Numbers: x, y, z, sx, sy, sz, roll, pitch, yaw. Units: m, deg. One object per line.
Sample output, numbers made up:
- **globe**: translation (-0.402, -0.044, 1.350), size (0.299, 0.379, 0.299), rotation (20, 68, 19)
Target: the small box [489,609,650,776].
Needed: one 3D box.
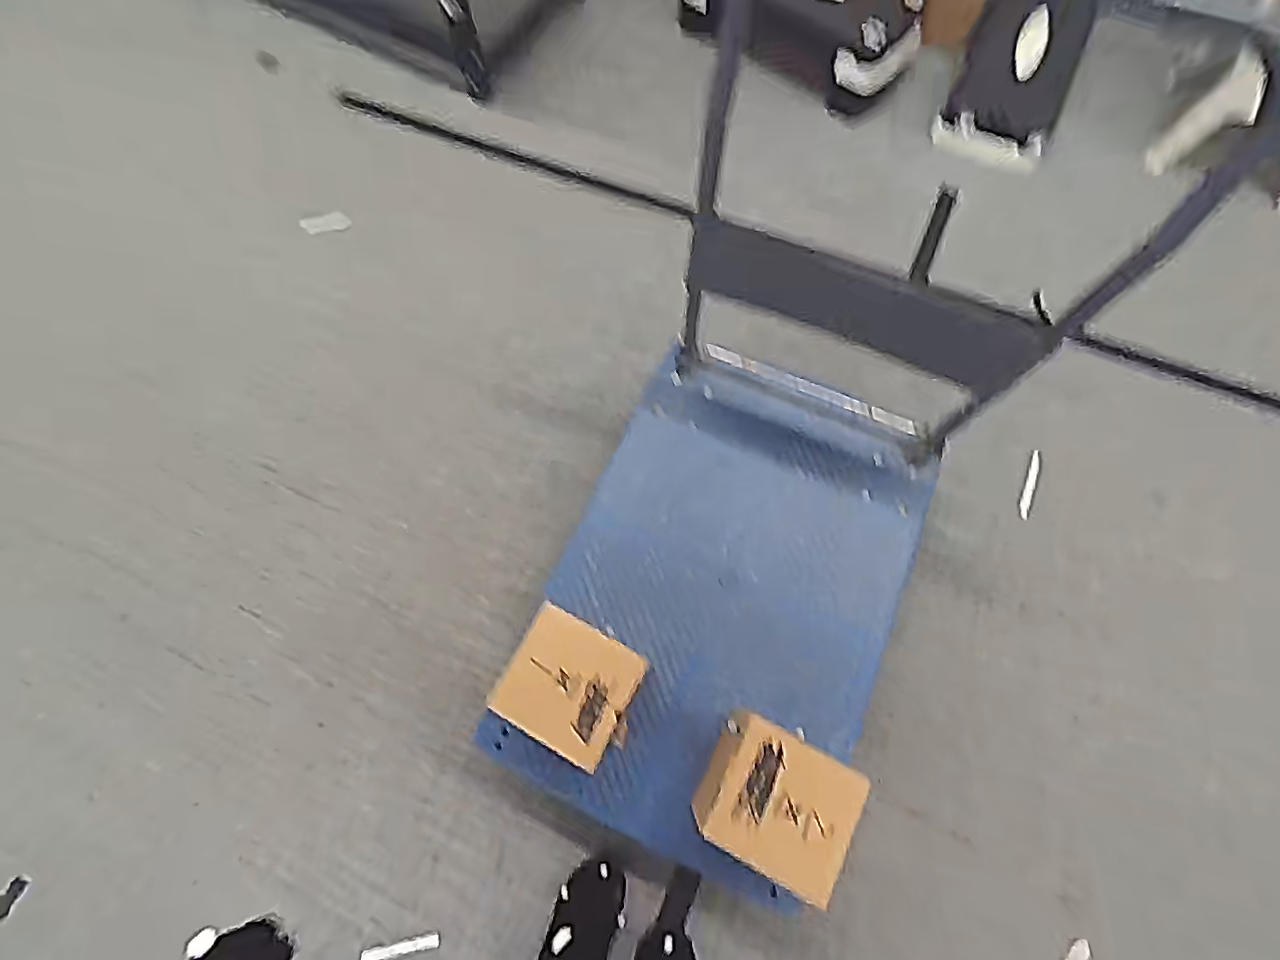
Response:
- **small box**: translation (-0.097, 0.320, 0.841), size (0.179, 0.176, 0.168), rotation (28, 74, 11)
